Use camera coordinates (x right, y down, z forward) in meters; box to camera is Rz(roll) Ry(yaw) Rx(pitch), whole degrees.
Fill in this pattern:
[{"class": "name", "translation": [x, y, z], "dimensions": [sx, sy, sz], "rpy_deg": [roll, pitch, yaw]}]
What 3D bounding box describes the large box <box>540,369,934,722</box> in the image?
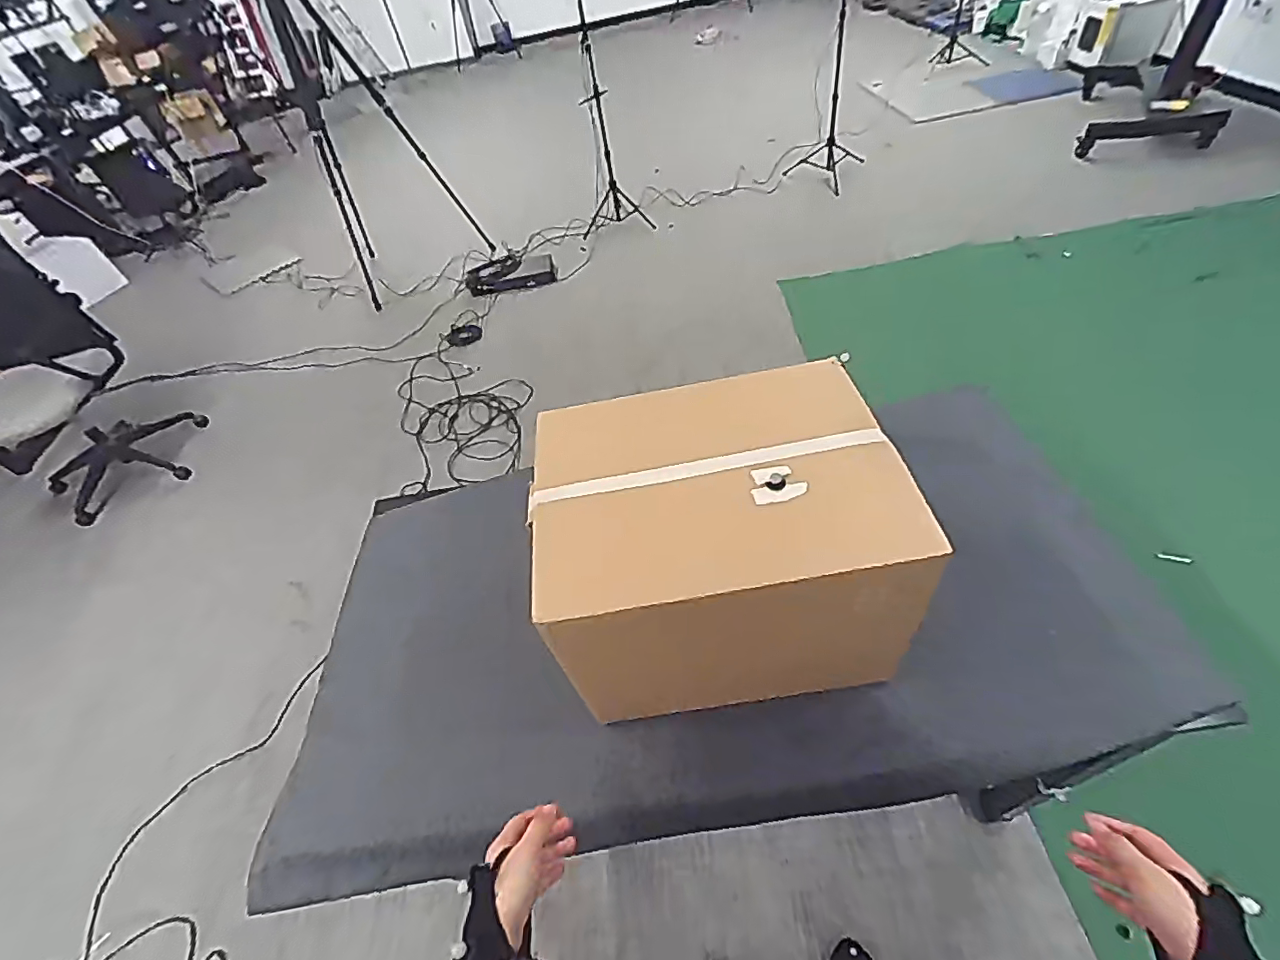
[{"class": "large box", "translation": [0.097, 0.096, 0.739], "dimensions": [0.408, 0.320, 0.320], "rpy_deg": [-10, 49, 2]}]
